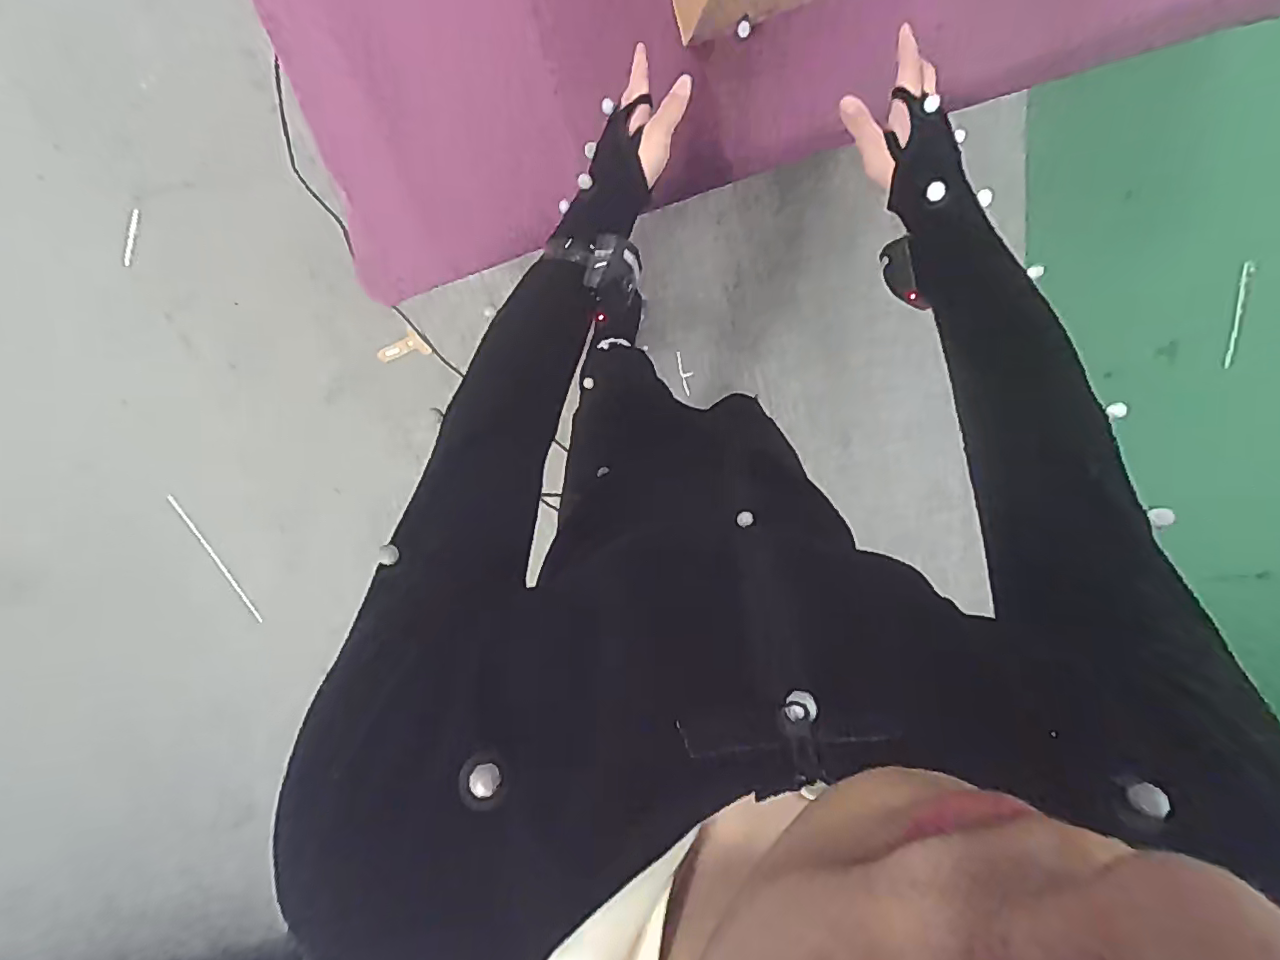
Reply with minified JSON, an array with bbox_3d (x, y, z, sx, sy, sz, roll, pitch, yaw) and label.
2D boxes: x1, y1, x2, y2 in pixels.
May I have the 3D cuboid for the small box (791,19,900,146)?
[{"bbox_3d":[0.461,-0.886,1.228,0.168,0.176,0.179,-20,112,3],"label":"small box"}]

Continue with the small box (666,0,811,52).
[{"bbox_3d":[0.103,-0.581,0.541,0.168,0.176,0.179,-18,113,4],"label":"small box"}]
